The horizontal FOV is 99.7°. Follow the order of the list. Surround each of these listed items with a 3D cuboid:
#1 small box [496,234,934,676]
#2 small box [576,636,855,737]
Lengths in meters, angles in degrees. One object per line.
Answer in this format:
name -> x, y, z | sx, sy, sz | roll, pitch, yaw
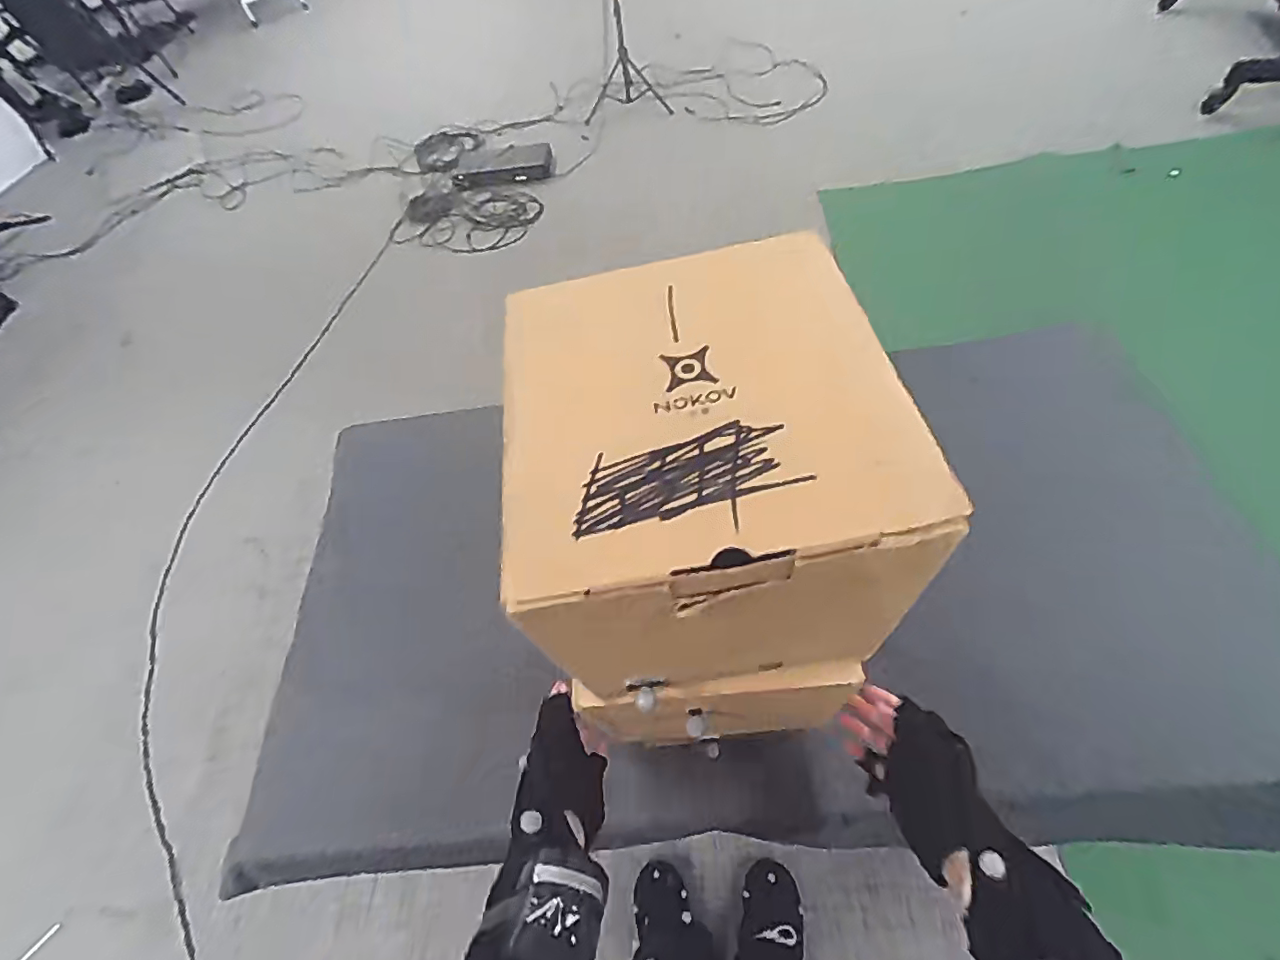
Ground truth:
small box -> 0.030, 0.000, 0.307 | 0.168, 0.176, 0.179 | -11, 55, 3
small box -> 0.052, 0.100, 0.441 | 0.179, 0.176, 0.168 | -9, 55, 4
